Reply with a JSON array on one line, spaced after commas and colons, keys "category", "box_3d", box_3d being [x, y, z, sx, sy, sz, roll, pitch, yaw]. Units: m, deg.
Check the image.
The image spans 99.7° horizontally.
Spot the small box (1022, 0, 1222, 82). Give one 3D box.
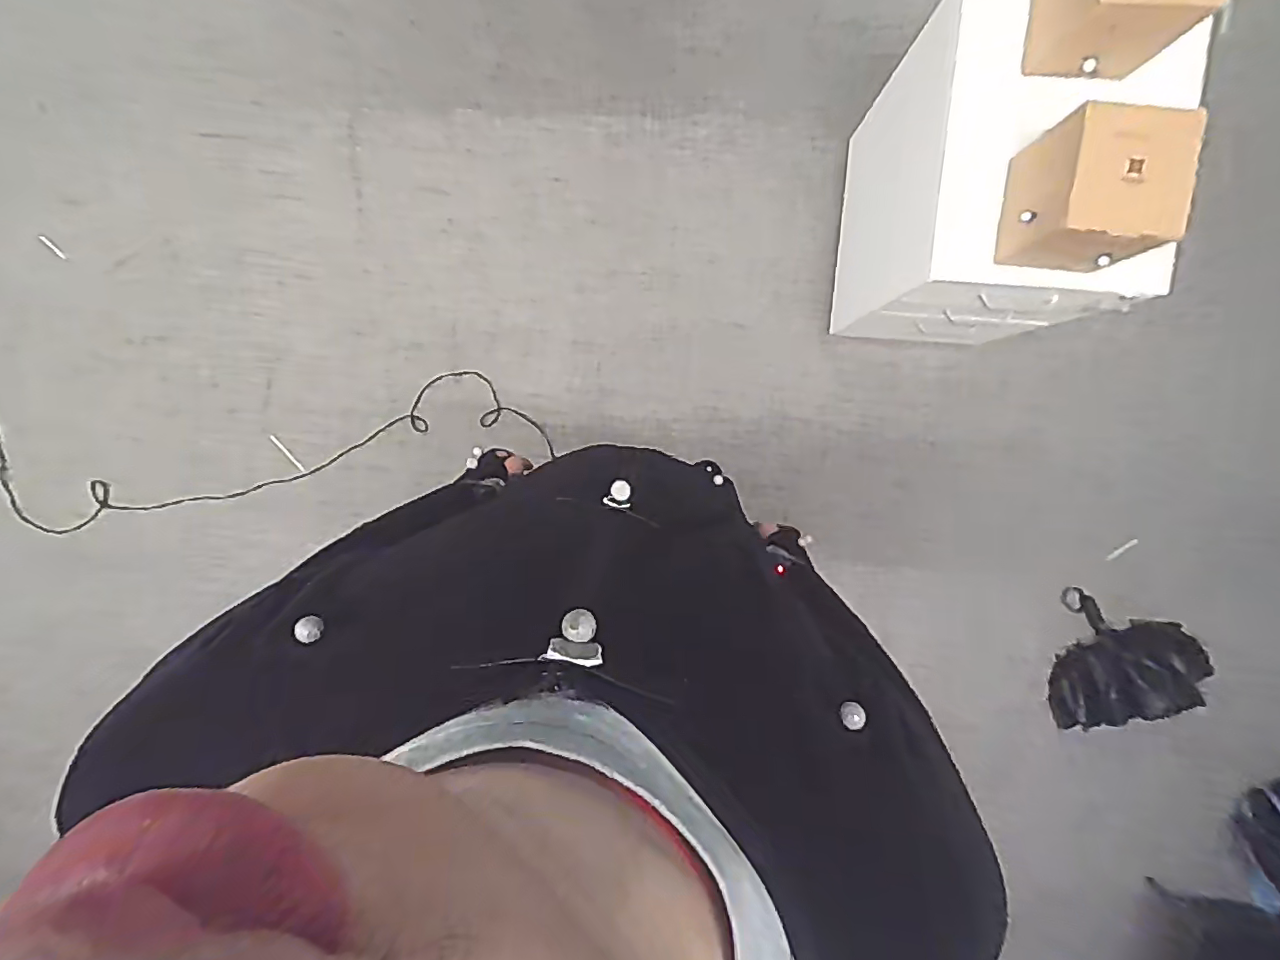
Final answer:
[{"category": "small box", "box_3d": [0.705, -0.733, 0.794, 0.168, 0.176, 0.179, 4, 98, 1]}]

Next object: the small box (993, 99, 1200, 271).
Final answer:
[{"category": "small box", "box_3d": [0.680, -0.436, 0.829, 0.168, 0.176, 0.179, 5, 94, -1]}]
